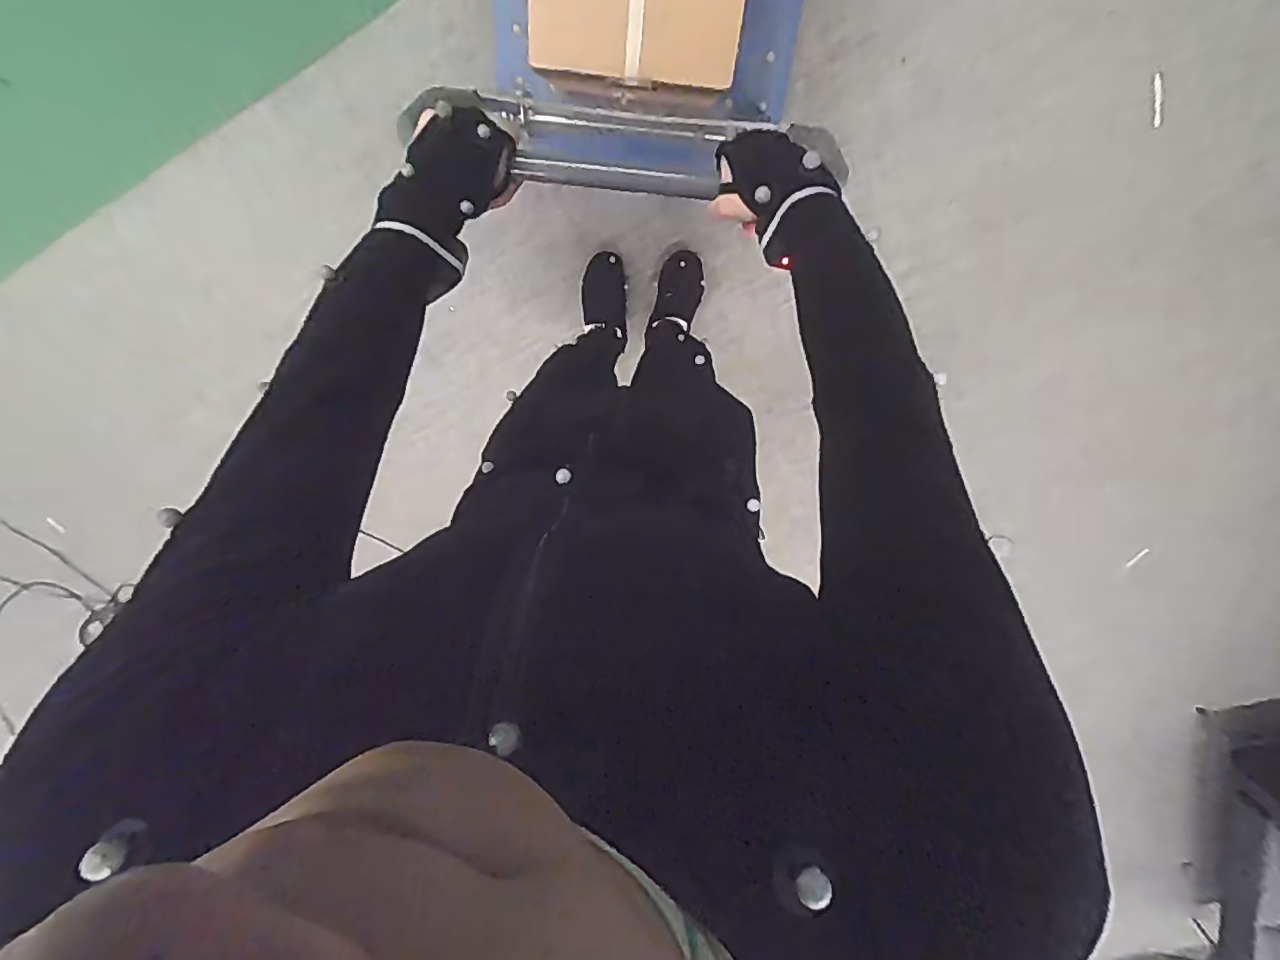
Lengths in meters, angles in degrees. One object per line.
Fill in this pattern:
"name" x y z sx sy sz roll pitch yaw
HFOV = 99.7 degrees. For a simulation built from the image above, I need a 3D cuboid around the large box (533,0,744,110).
"large box" 0.012 -0.864 0.874 0.320 0.320 0.408 6 120 -2
